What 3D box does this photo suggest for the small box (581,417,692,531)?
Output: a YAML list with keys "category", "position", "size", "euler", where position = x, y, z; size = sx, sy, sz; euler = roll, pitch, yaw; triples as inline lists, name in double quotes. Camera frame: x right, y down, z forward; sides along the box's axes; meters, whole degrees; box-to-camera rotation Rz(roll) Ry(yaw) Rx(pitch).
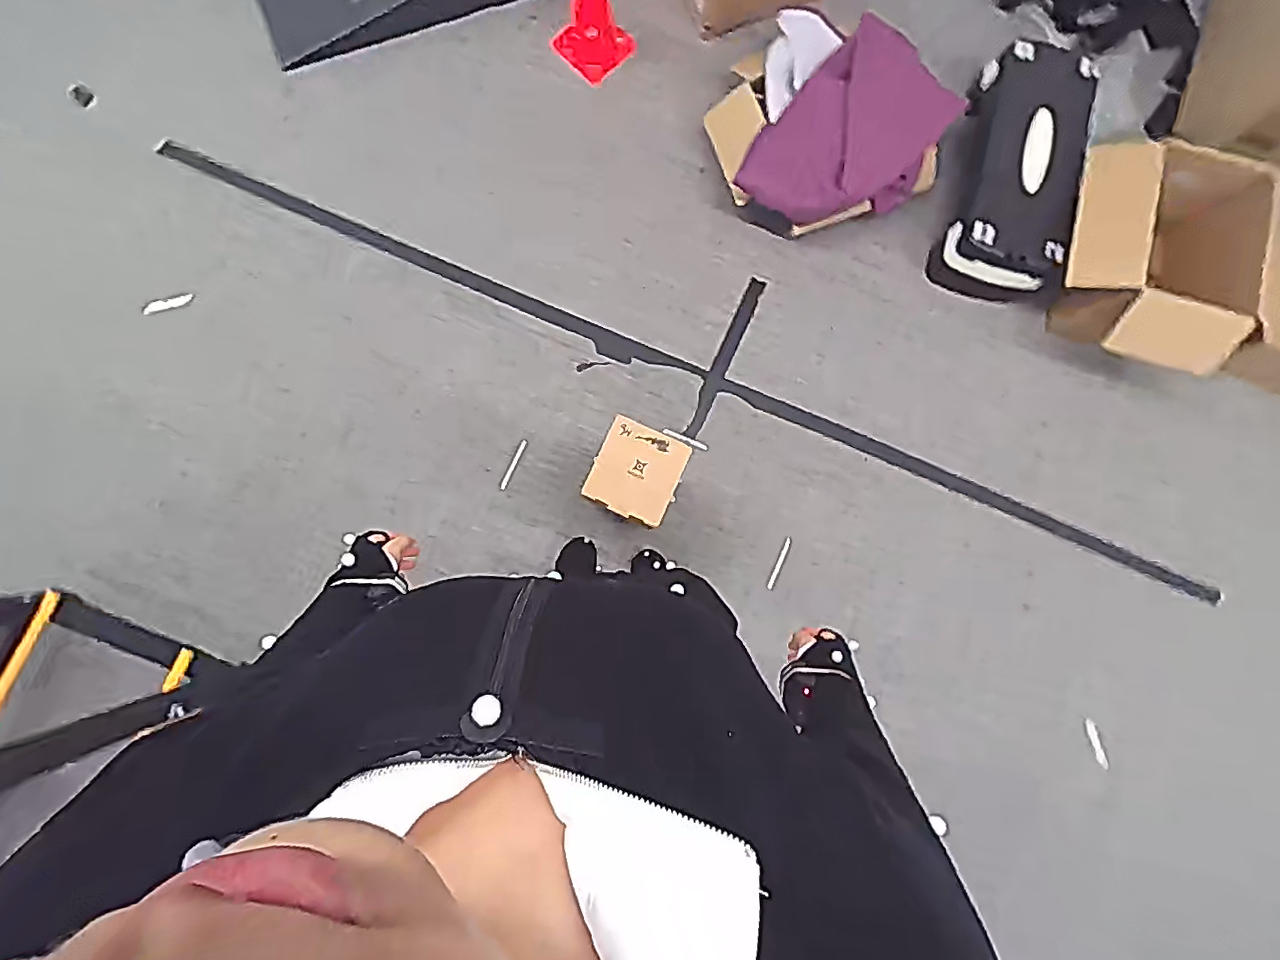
- category: "small box"
  position: [-0.006, -0.005, 1.124]
  size: [0.168, 0.176, 0.179]
  euler: [25, 84, 1]
